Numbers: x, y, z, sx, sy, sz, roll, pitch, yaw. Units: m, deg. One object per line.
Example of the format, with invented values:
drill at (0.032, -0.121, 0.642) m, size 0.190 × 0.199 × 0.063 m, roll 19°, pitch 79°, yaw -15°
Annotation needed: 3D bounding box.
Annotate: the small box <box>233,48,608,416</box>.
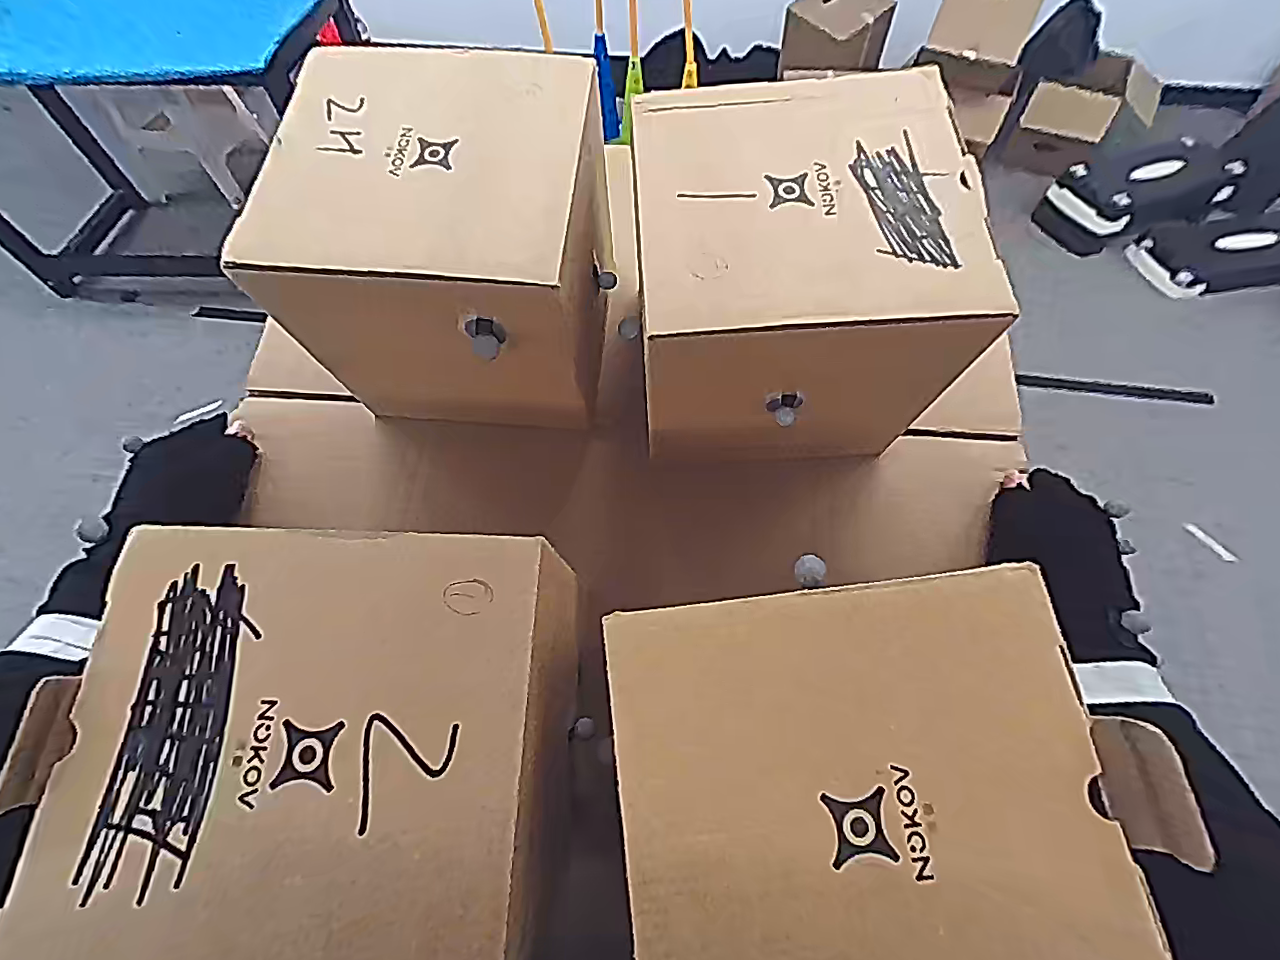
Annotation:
small box at (-0.120, -0.157, 0.383) m, size 0.179 × 0.176 × 0.168 m, roll 5°, pitch 70°, yaw 3°
